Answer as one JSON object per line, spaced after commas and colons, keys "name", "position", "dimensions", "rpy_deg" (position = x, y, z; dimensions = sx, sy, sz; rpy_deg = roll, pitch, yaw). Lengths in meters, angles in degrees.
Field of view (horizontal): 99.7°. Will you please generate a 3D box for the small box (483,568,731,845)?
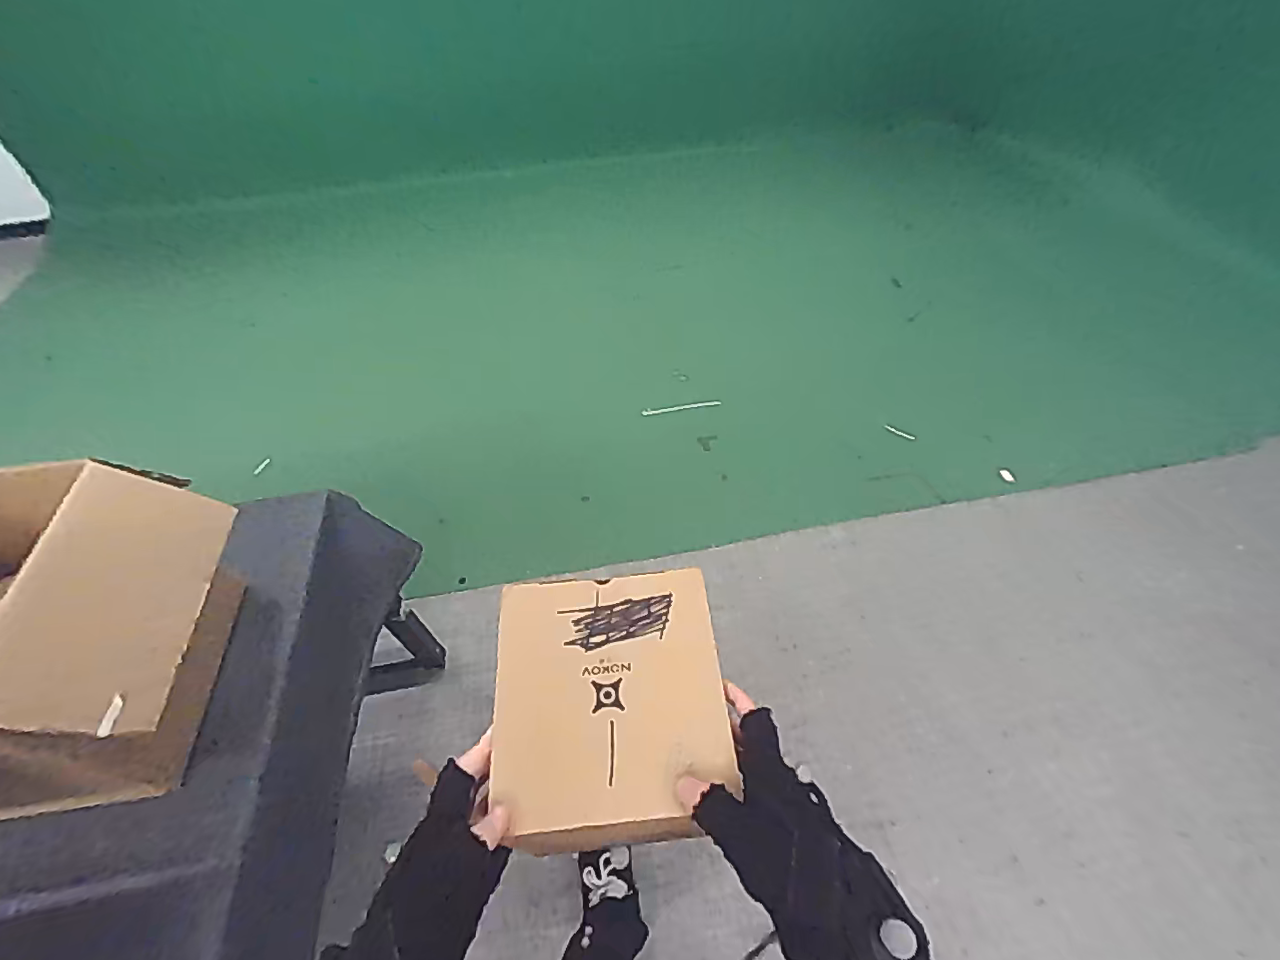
{"name": "small box", "position": [-0.027, 0.196, 0.465], "dimensions": [0.168, 0.176, 0.179], "rpy_deg": [-4, 52, -2]}
